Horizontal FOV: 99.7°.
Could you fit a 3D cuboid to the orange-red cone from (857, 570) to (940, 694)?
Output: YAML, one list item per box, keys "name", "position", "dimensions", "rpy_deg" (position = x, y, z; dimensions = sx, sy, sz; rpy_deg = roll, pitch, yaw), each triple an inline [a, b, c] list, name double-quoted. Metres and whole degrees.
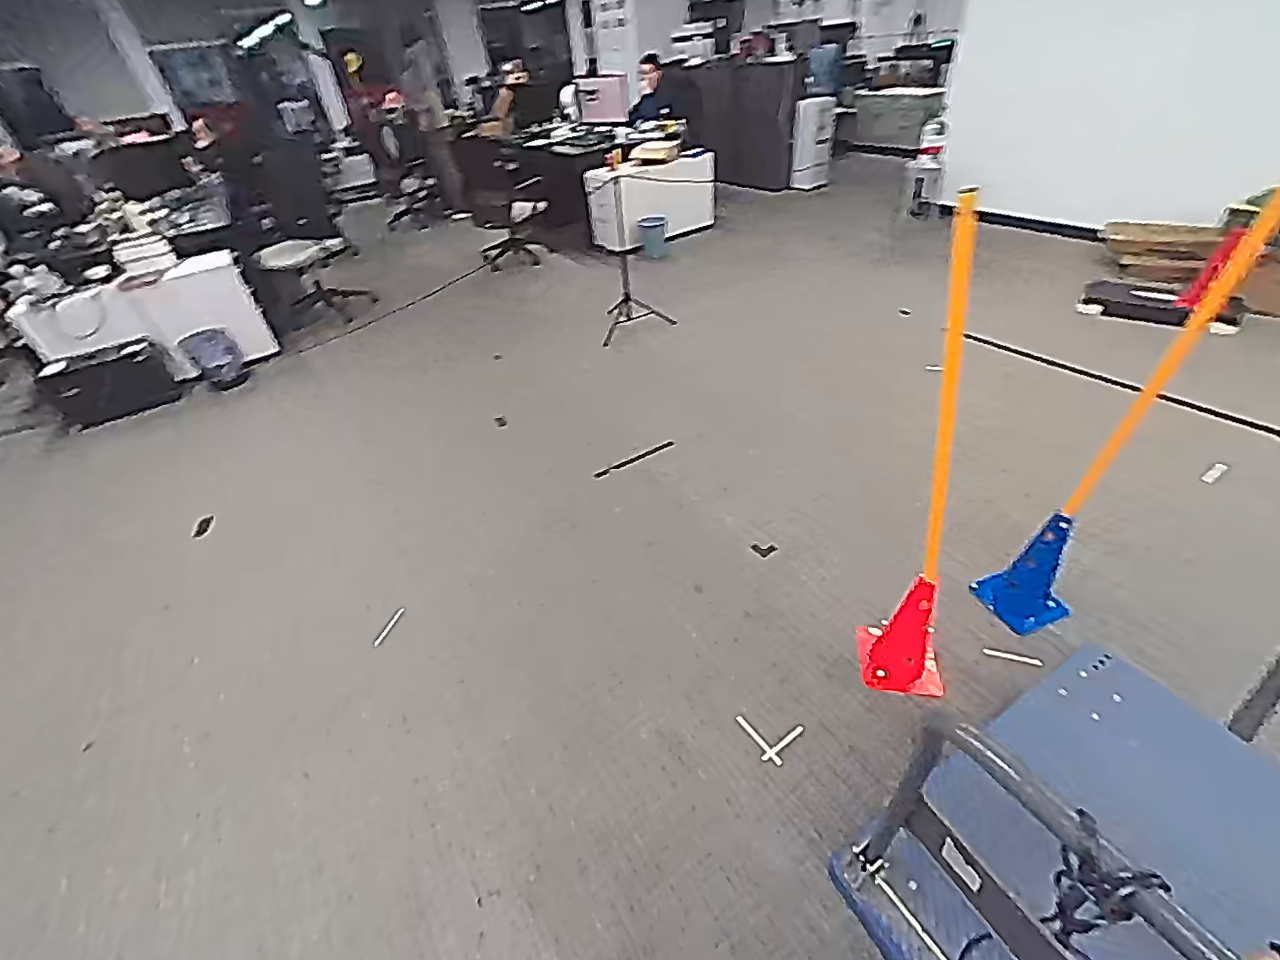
- name: "orange-red cone"
  position: [0.697, 0.359, 1.386]
  dimensions: [0.199, 0.360, 0.198]
  rpy_deg: [4, 41, 11]

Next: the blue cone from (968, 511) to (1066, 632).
- name: "blue cone"
  position: [1.103, 0.230, 1.509]
  dimensions: [0.192, 0.380, 0.193]
  rpy_deg: [-17, 40, -11]
